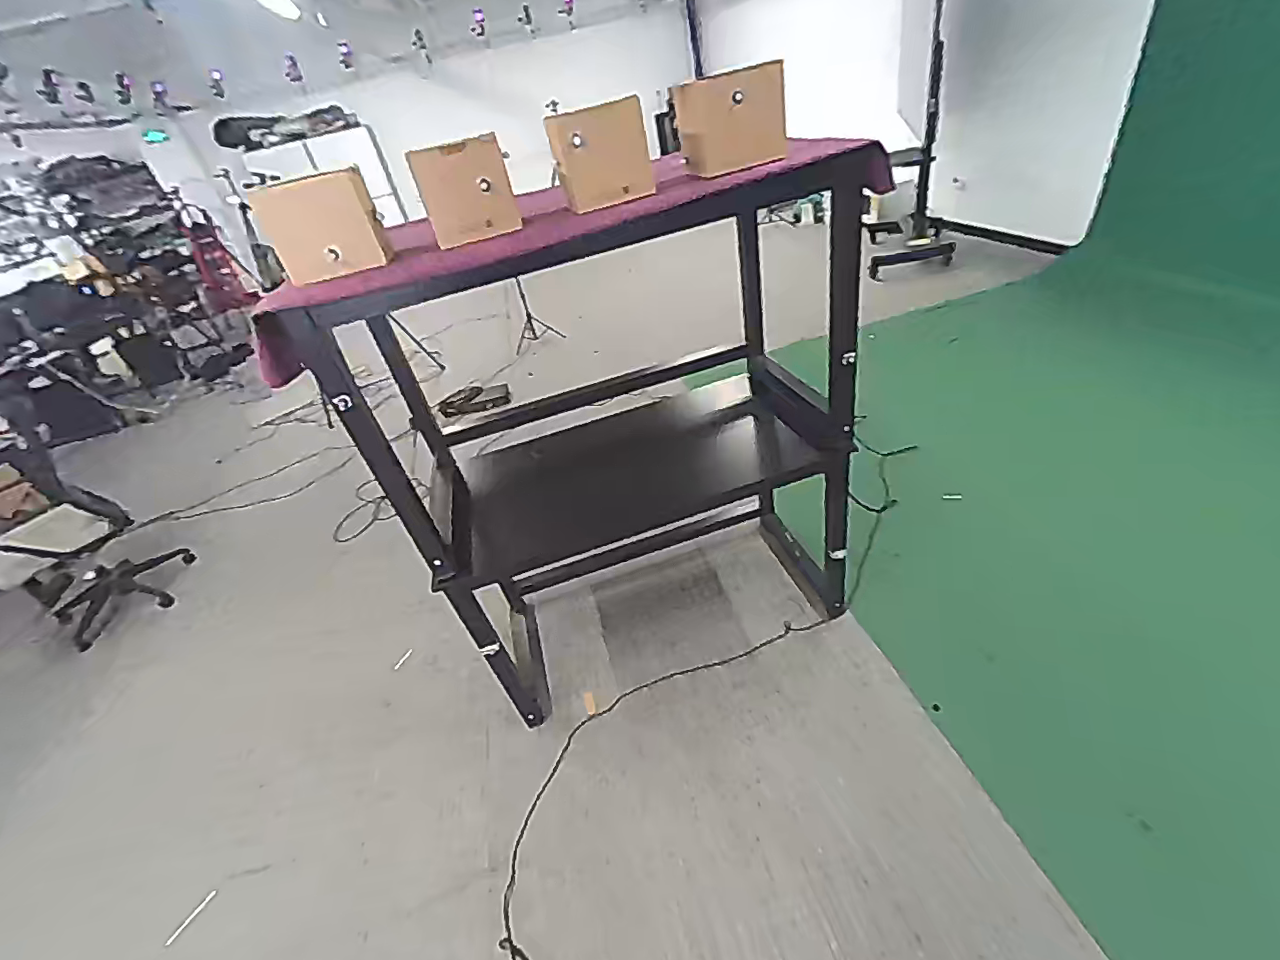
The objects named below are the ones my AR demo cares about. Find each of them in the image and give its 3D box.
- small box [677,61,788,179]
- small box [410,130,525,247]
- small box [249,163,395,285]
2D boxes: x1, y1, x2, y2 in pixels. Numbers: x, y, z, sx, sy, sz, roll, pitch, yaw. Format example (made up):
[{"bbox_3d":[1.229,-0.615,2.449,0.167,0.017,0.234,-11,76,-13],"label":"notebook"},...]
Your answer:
[{"bbox_3d":[0.193,-0.740,1.124,0.179,0.176,0.168,-17,35,-5],"label":"small box"},{"bbox_3d":[-0.331,-0.574,1.069,0.168,0.176,0.179,-16,34,-5],"label":"small box"},{"bbox_3d":[-0.590,-0.492,1.036,0.179,0.176,0.168,-18,35,-8],"label":"small box"}]
